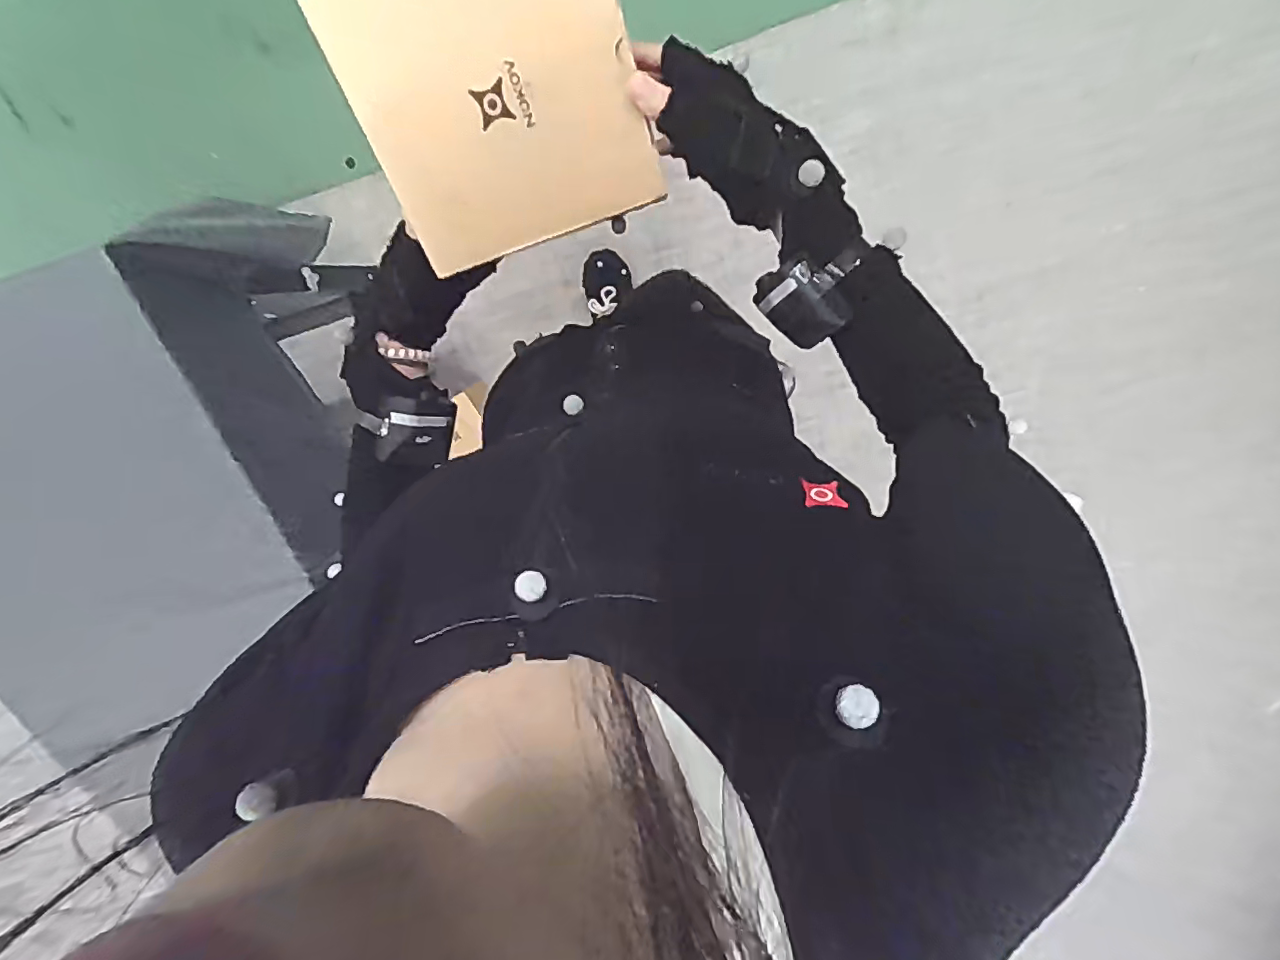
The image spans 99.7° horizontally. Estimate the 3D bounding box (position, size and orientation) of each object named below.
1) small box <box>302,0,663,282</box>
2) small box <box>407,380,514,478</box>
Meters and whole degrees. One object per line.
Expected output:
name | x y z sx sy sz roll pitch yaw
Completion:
small box | -0.092 -0.270 0.404 0.179 0.176 0.168 -17 121 6
small box | -0.450 -0.136 1.389 0.179 0.176 0.168 -27 109 11
